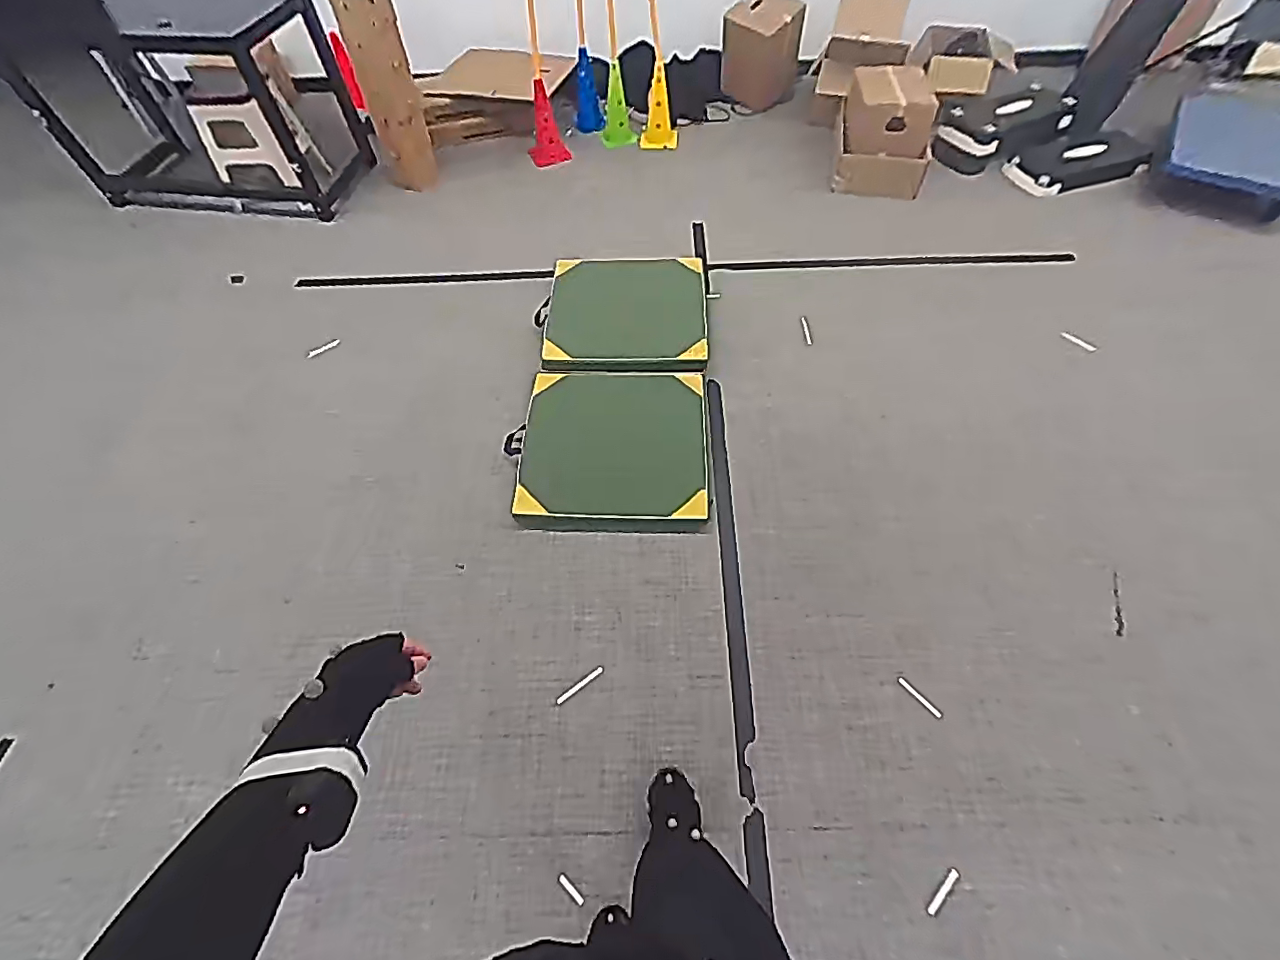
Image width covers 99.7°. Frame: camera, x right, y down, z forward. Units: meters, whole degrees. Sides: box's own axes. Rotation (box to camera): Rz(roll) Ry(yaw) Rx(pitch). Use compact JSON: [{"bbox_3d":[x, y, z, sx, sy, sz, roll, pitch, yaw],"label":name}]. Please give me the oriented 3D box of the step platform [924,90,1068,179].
[{"bbox_3d":[1.826,-1.776,2.770,0.684,0.204,0.286,-25,60,-14],"label":"step platform"}]
